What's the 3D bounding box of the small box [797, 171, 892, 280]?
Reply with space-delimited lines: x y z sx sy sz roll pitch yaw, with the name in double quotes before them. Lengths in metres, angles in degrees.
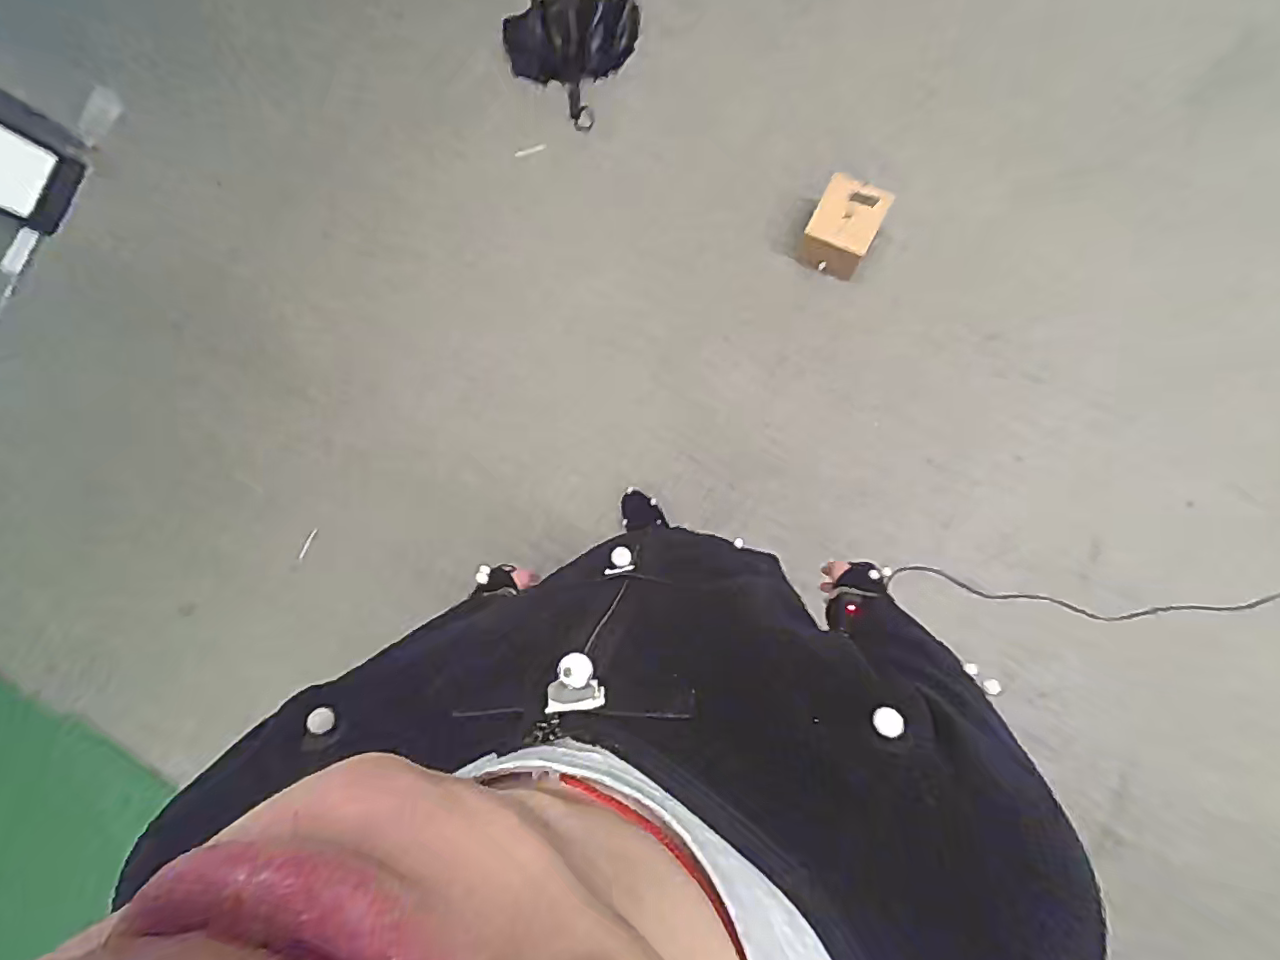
"small box" 0.536 -0.673 1.448 0.168 0.176 0.179 27 93 8
